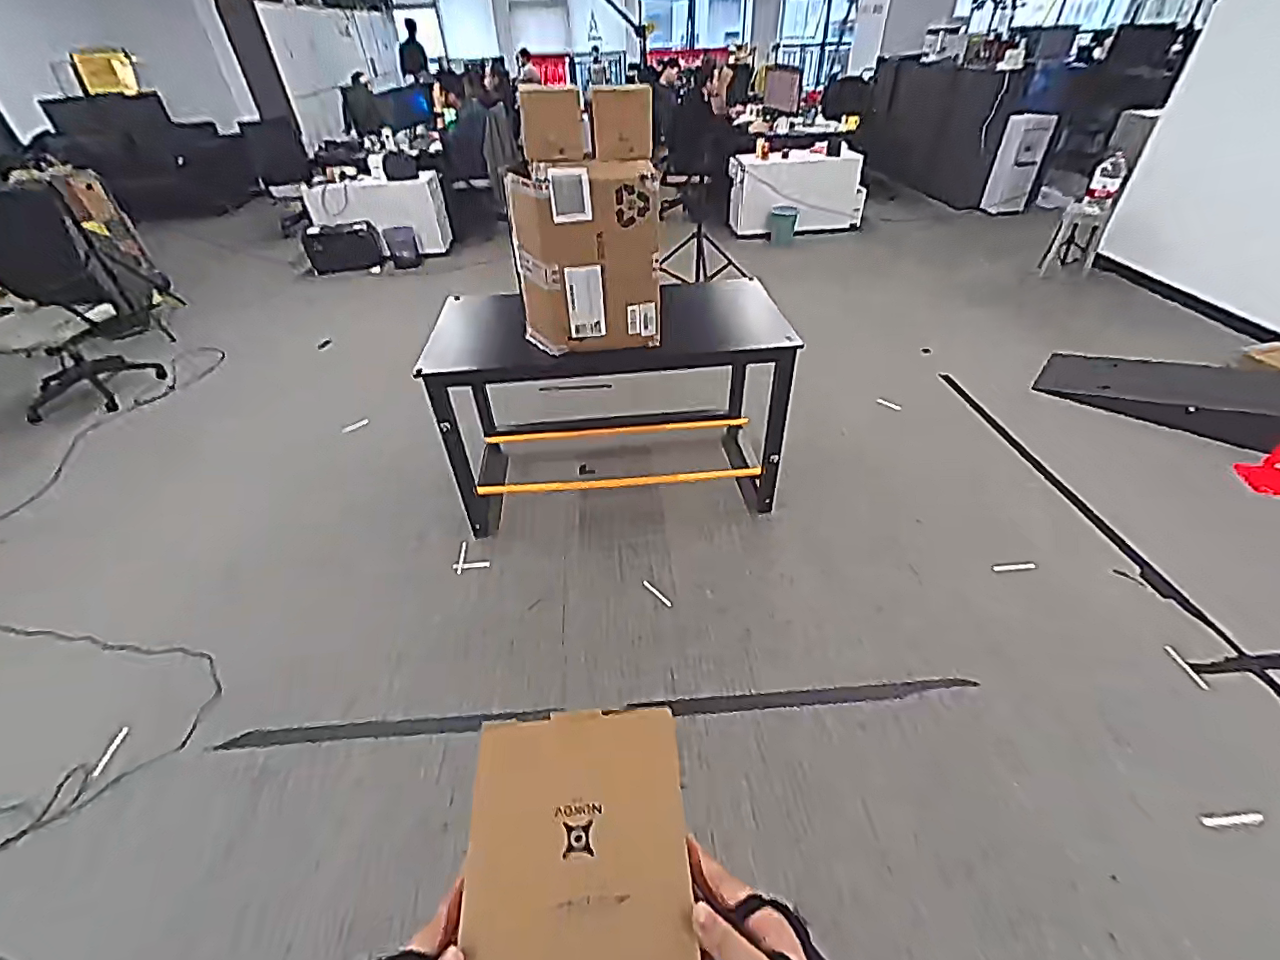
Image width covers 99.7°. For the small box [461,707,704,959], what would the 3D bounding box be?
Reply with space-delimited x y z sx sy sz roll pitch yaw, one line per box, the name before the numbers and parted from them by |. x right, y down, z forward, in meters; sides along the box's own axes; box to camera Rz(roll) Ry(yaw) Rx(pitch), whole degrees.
small box | -0.046 0.319 0.469 0.168 0.176 0.179 -3 49 -4

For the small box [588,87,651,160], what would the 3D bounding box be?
small box | -0.061 -1.043 1.579 0.168 0.176 0.179 -7 38 -6

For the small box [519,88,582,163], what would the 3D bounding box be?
small box | -0.258 -1.024 1.559 0.168 0.176 0.179 -6 38 -9
